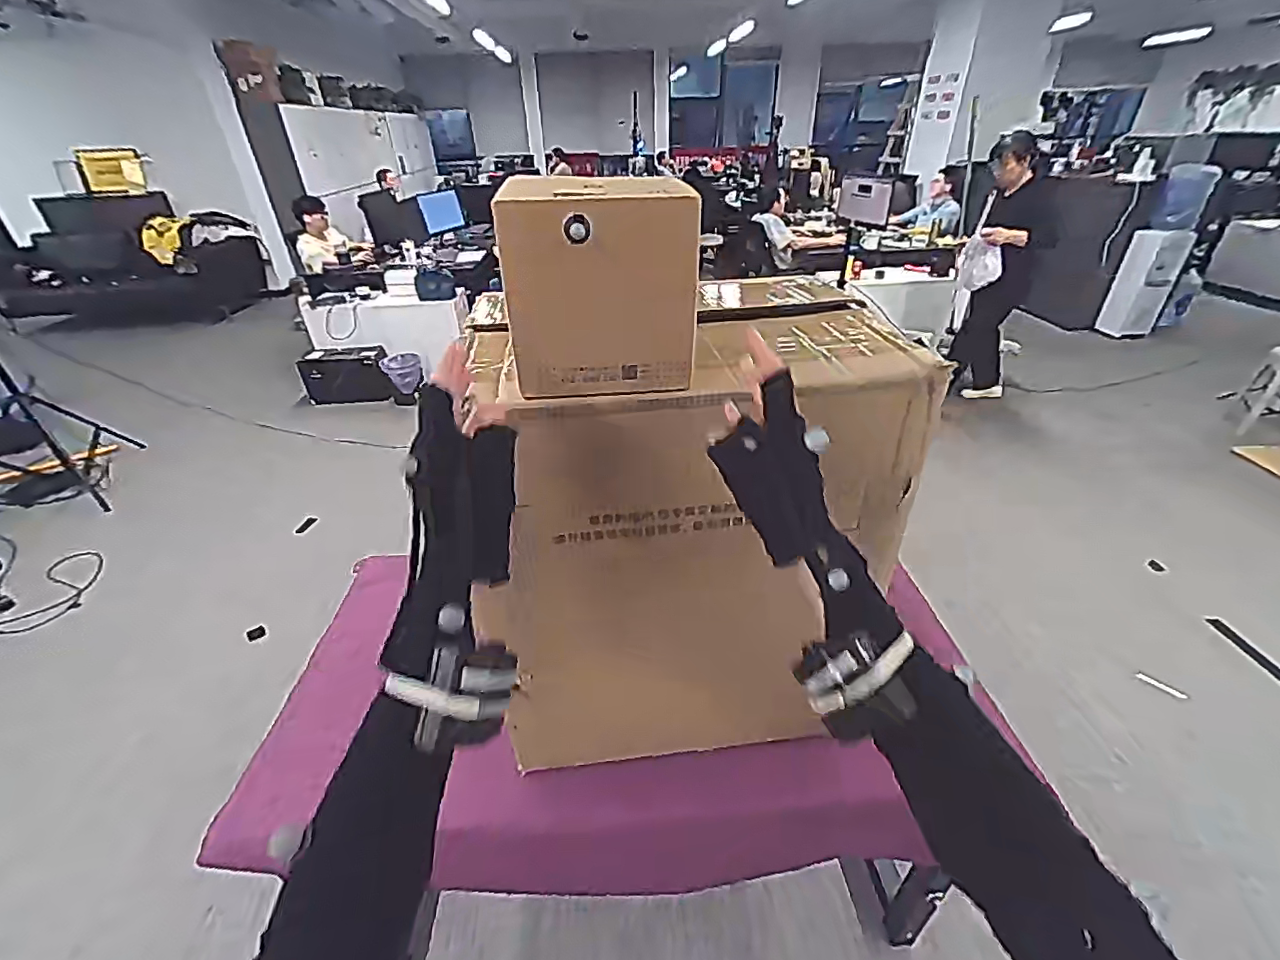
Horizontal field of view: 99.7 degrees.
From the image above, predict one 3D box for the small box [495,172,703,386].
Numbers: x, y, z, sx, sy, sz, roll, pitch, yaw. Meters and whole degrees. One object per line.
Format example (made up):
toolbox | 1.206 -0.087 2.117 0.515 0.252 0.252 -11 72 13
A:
small box | -0.038 -0.202 0.532 0.168 0.176 0.179 -4 33 -5
